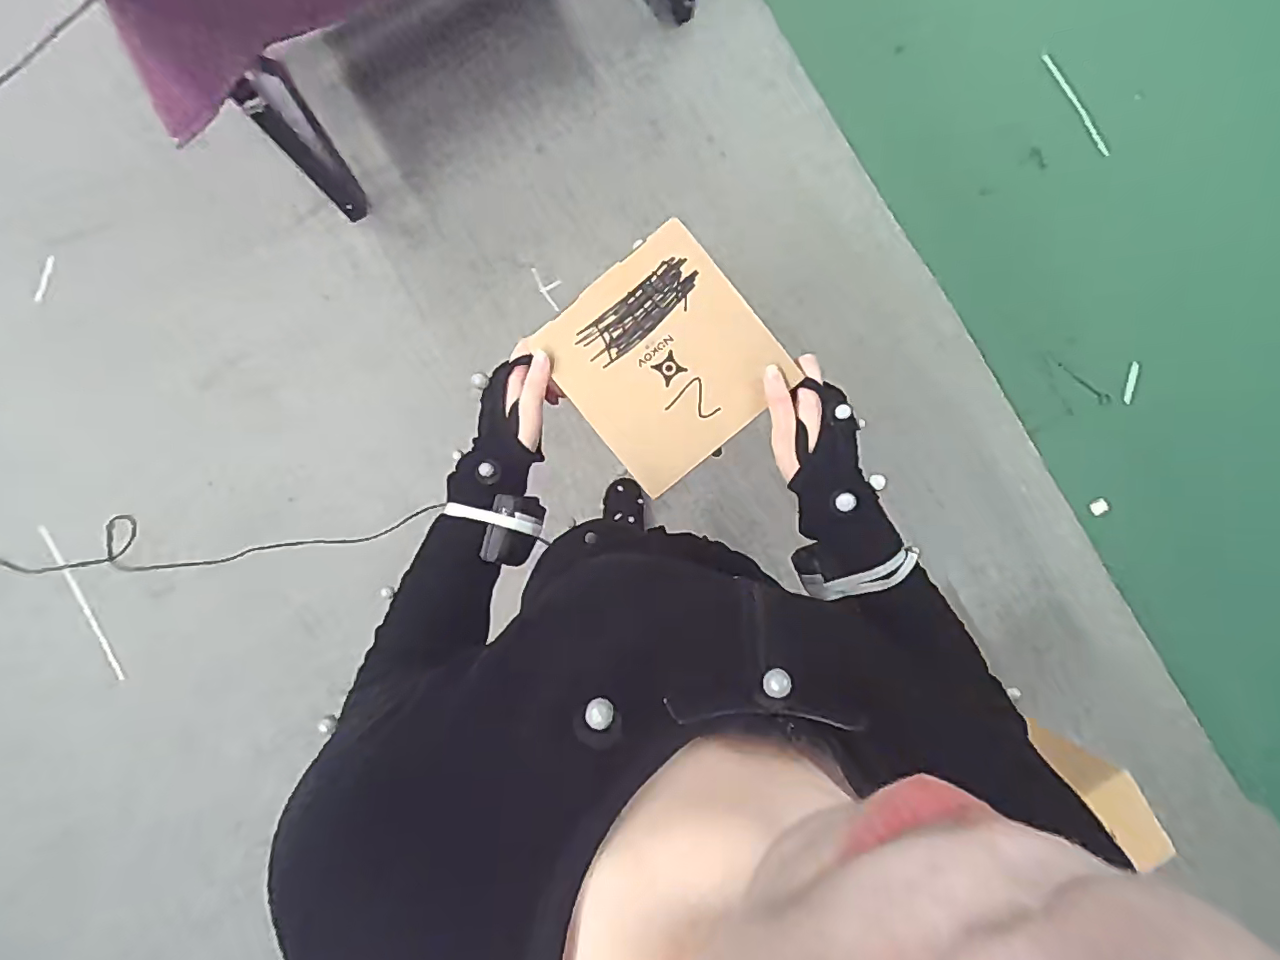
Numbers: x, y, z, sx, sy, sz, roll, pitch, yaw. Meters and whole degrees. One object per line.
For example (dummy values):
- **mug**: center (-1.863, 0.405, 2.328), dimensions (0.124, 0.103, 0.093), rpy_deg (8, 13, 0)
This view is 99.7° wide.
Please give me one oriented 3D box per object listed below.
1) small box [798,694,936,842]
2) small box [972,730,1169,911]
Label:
- **small box**: center (0.450, 0.572, 1.098), dimensions (0.168, 0.176, 0.179), rpy_deg (-25, 89, -2)
- **small box**: center (0.737, 0.578, 0.946), dimensions (0.179, 0.176, 0.168), rpy_deg (-31, 90, -2)
